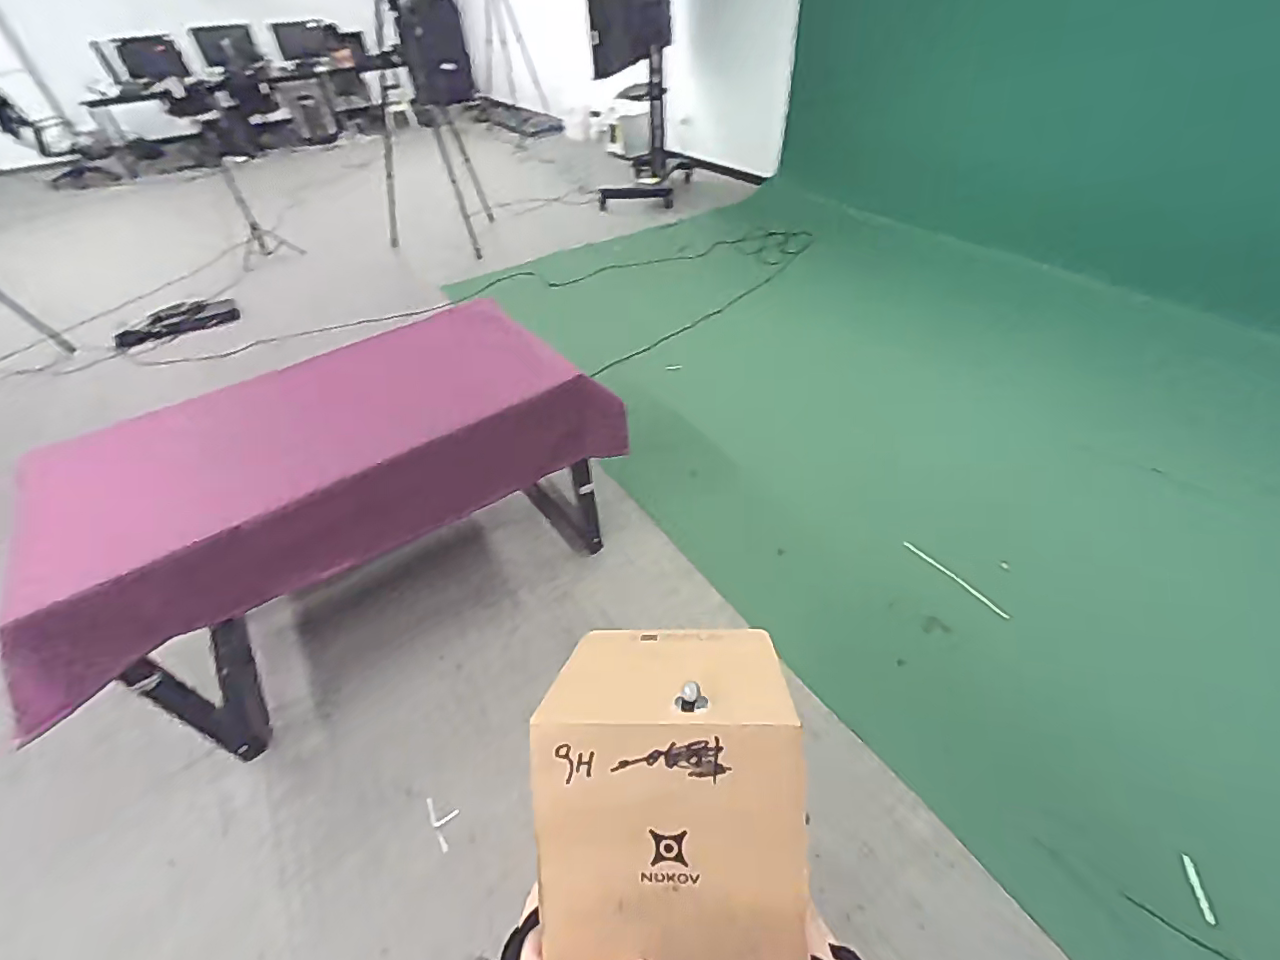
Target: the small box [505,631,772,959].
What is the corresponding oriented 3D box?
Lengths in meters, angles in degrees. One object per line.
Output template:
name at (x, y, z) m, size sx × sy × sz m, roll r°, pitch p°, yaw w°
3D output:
small box at (0.009, 0.231, 0.418) m, size 0.168 × 0.179 × 0.176 m, roll -3°, pitch 4°, yaw 6°
